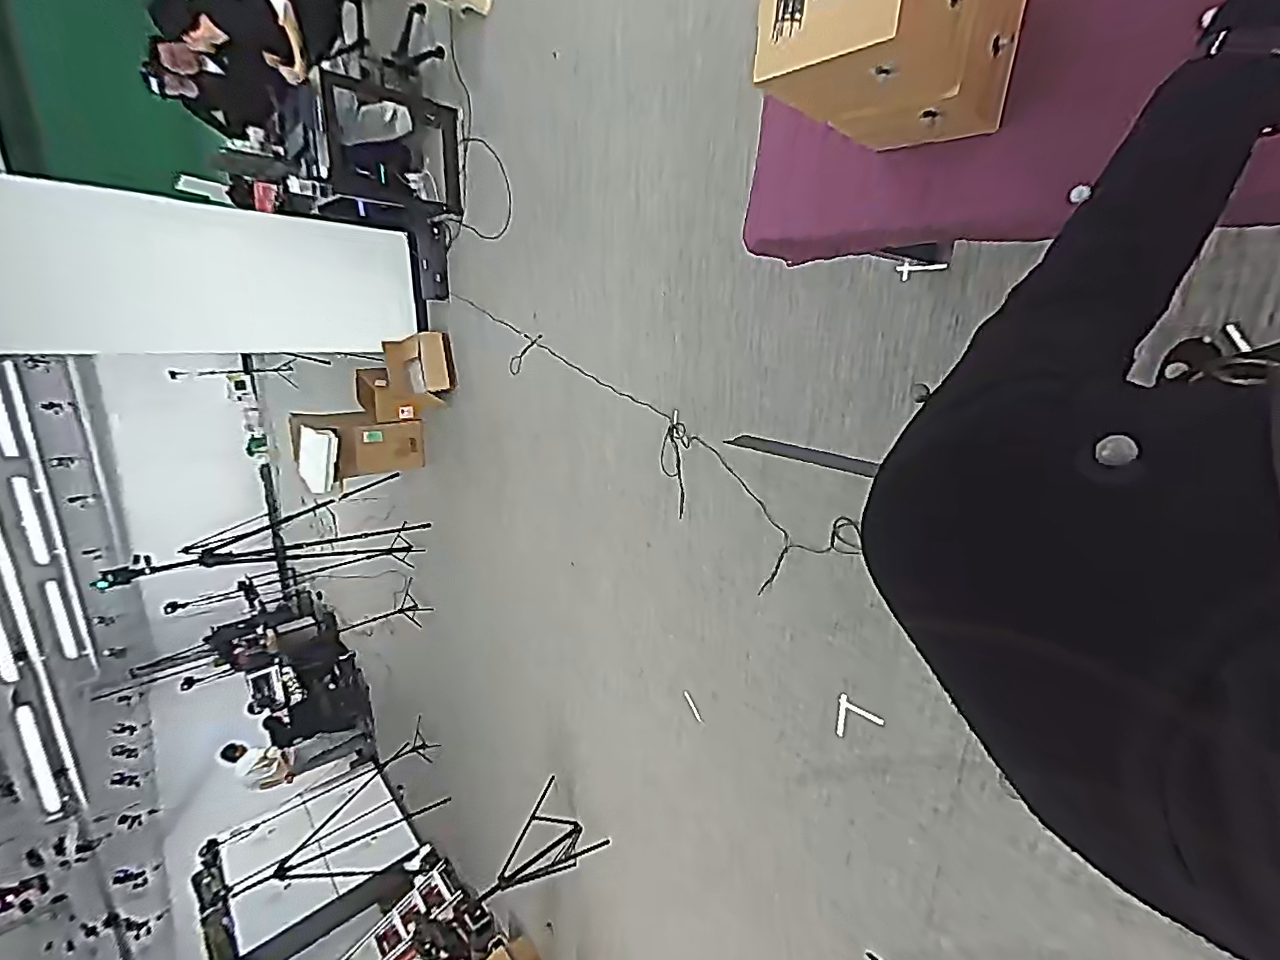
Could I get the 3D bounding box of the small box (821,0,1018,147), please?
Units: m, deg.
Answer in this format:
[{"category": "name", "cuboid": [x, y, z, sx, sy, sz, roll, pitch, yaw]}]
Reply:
[{"category": "small box", "cuboid": [0.376, -0.571, 0.730, 0.179, 0.176, 0.168, 21, 115, 43]}]
